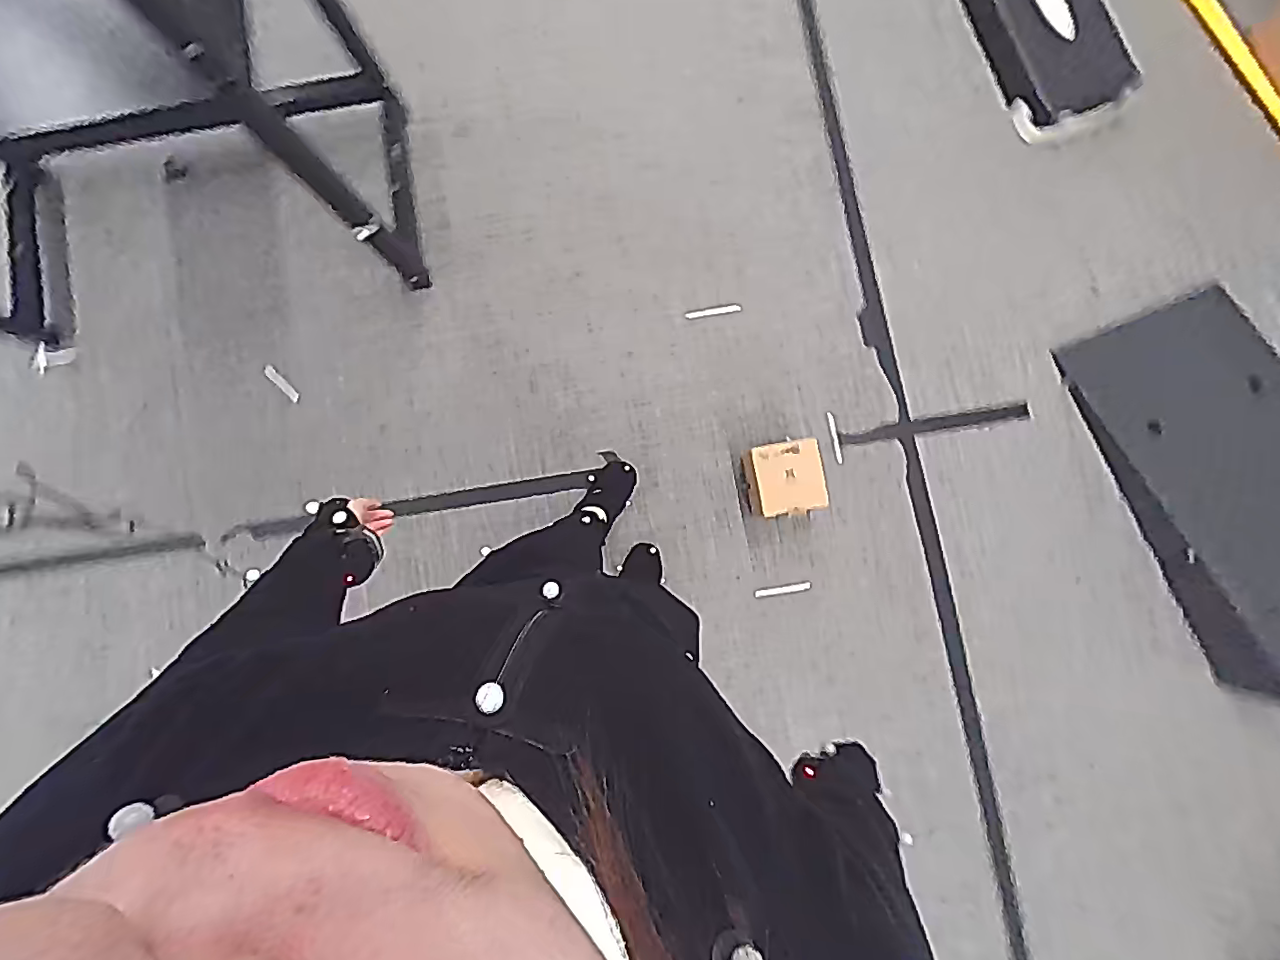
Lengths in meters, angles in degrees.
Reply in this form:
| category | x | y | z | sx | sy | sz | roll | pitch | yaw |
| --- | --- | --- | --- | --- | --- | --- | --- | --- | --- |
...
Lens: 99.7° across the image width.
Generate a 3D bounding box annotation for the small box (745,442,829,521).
| category | x | y | z | sx | sy | sz | roll | pitch | yaw |
| --- | --- | --- | --- | --- | --- | --- | --- | --- | --- |
| small box | 0.375 | 0.006 | 1.404 | 0.168 | 0.176 | 0.179 | -9 | 87 | 2 |
